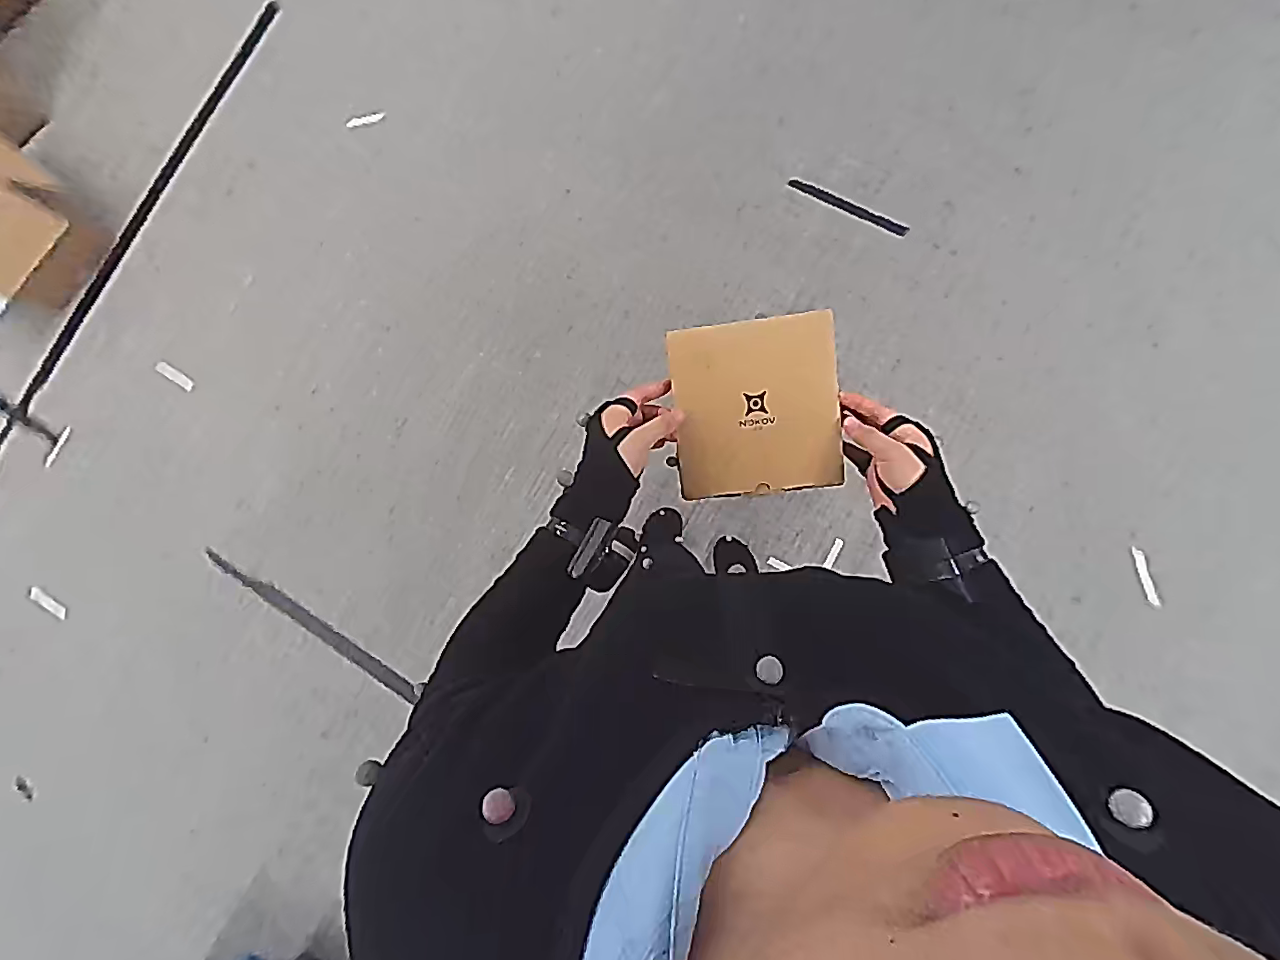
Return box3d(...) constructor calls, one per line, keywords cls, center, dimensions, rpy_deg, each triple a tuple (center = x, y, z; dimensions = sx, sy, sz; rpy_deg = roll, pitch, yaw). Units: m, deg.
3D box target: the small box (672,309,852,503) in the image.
box3d(cls="small box", center=(0.128, -0.081, 0.617), dimensions=(0.168, 0.176, 0.179), rpy_deg=(-7, 98, 7))
